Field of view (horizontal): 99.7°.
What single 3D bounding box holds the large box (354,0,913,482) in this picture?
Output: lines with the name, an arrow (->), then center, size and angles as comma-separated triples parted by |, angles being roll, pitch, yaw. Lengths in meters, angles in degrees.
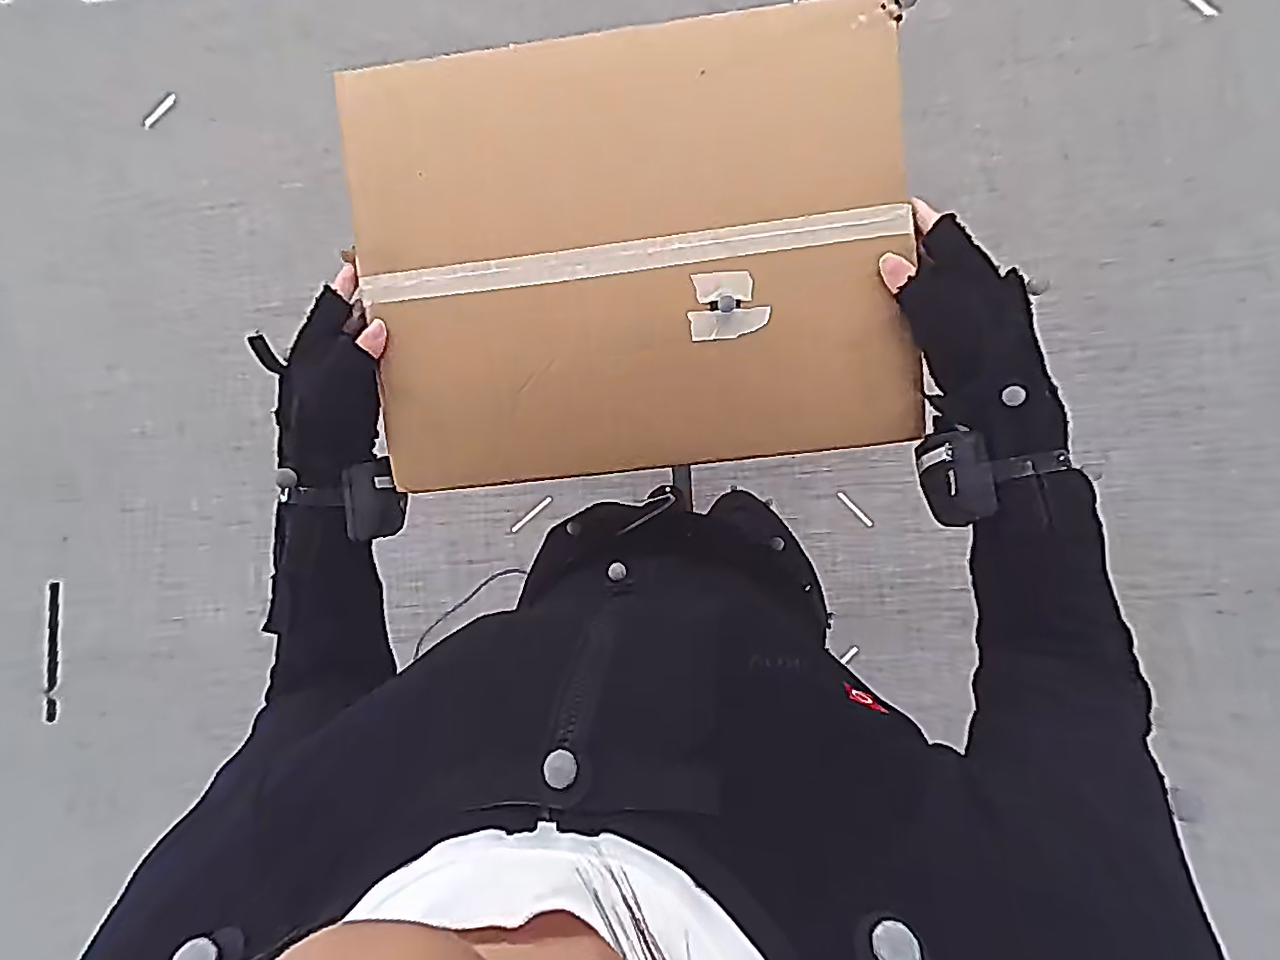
large box -> 0.000, -0.186, 0.560 | 0.408, 0.320, 0.320 | -6, 96, 3
